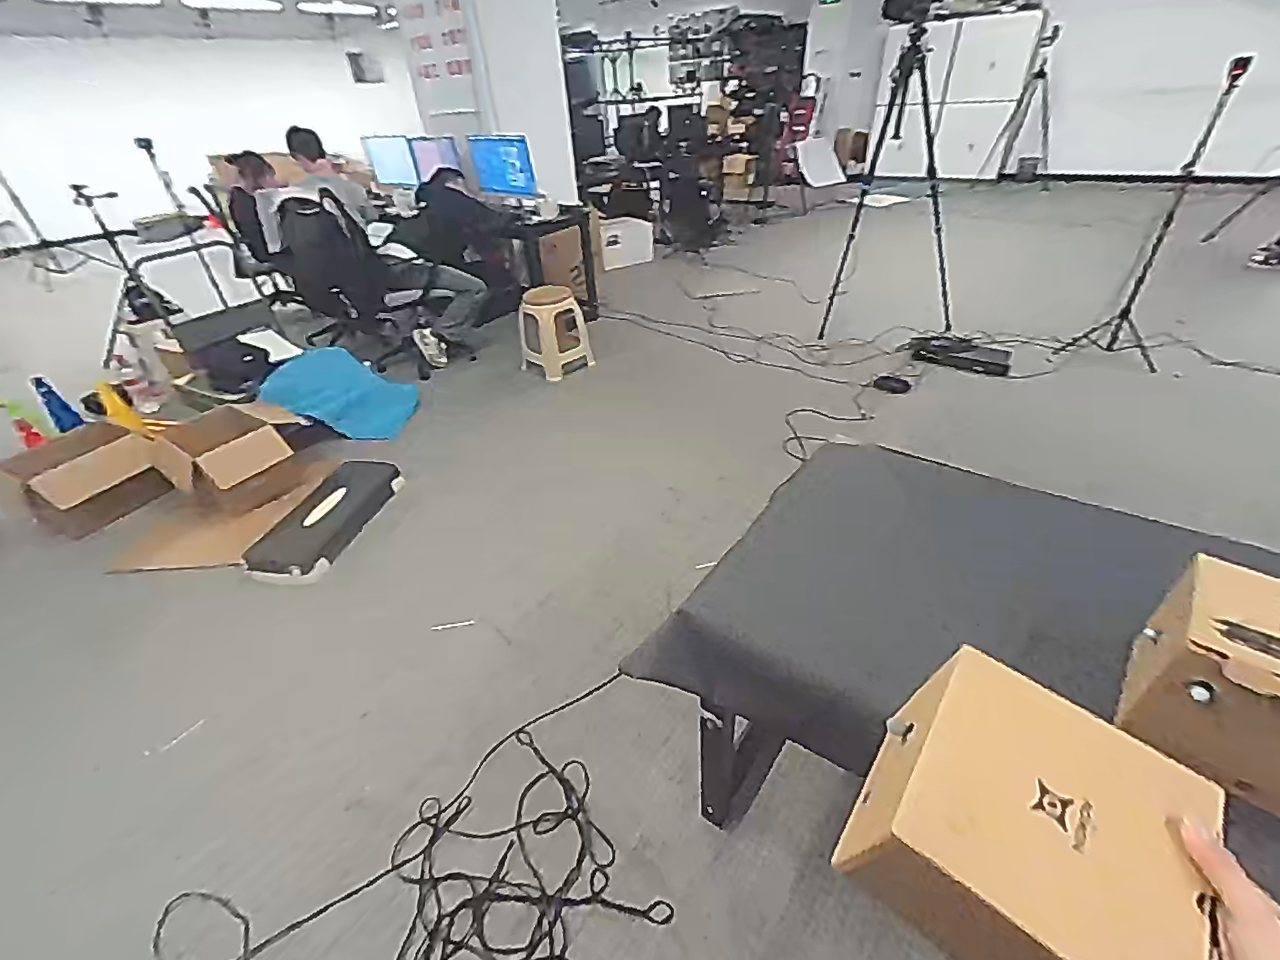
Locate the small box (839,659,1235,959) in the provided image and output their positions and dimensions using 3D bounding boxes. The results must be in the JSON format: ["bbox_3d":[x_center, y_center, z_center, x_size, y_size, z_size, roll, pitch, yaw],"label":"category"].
[{"bbox_3d":[0.282,0.282,0.418,0.179,0.176,0.168,31,56,24],"label":"small box"}]
